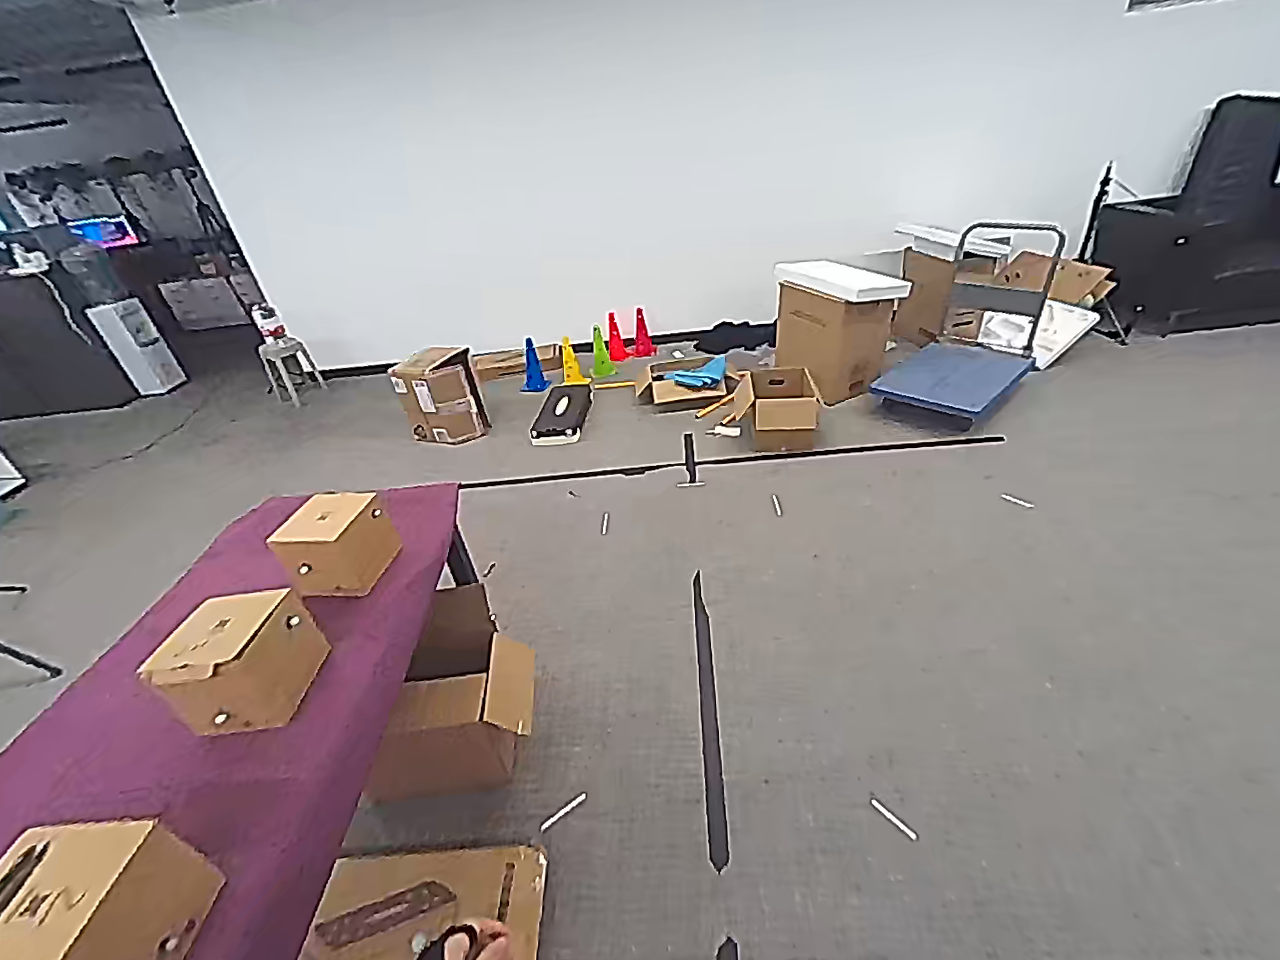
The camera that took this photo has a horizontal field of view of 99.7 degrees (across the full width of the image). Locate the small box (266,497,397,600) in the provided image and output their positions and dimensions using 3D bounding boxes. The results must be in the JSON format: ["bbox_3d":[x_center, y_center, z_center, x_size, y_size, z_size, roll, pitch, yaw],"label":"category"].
[{"bbox_3d":[-0.687,0.158,1.232,0.168,0.176,0.179,-2,33,9],"label":"small box"}]

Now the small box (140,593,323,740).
[{"bbox_3d":[-0.705,0.331,0.965,0.168,0.176,0.179,-8,33,4],"label":"small box"}]
